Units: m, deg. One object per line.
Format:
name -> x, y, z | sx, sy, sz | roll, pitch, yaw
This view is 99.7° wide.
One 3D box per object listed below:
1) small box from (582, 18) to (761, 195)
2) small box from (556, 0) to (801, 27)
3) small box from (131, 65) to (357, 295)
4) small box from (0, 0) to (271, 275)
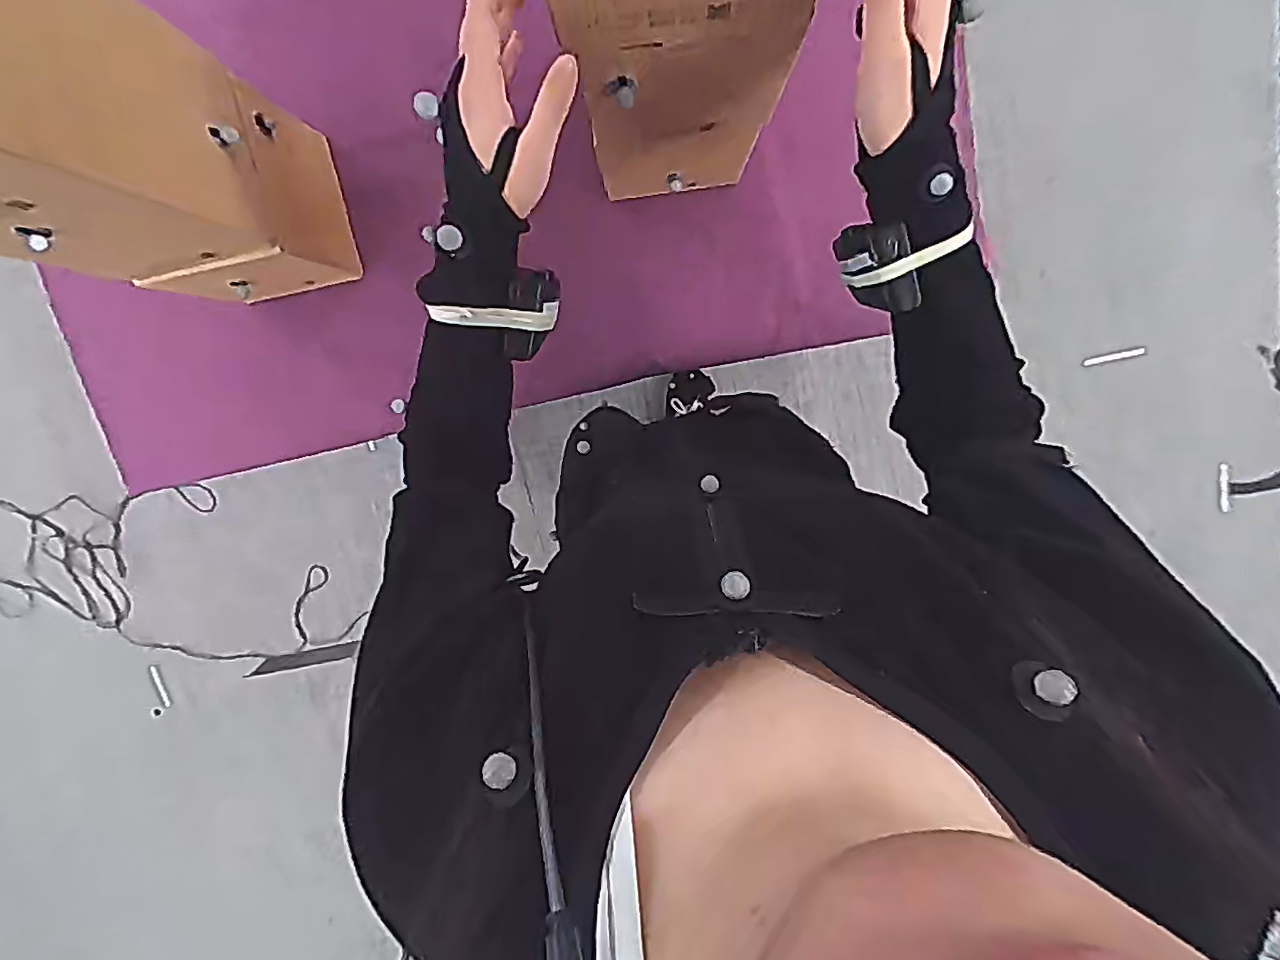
small box -> 0.029, -0.436, 0.583 | 0.168, 0.176, 0.179 | -6, 101, 3
small box -> 0.019, -0.366, 0.264 | 0.168, 0.176, 0.179 | -5, 100, 1
small box -> -0.460, -0.319, 0.619 | 0.168, 0.176, 0.179 | -11, 100, 3
small box -> -0.465, -0.293, 0.457 | 0.168, 0.176, 0.179 | -11, 100, 4
